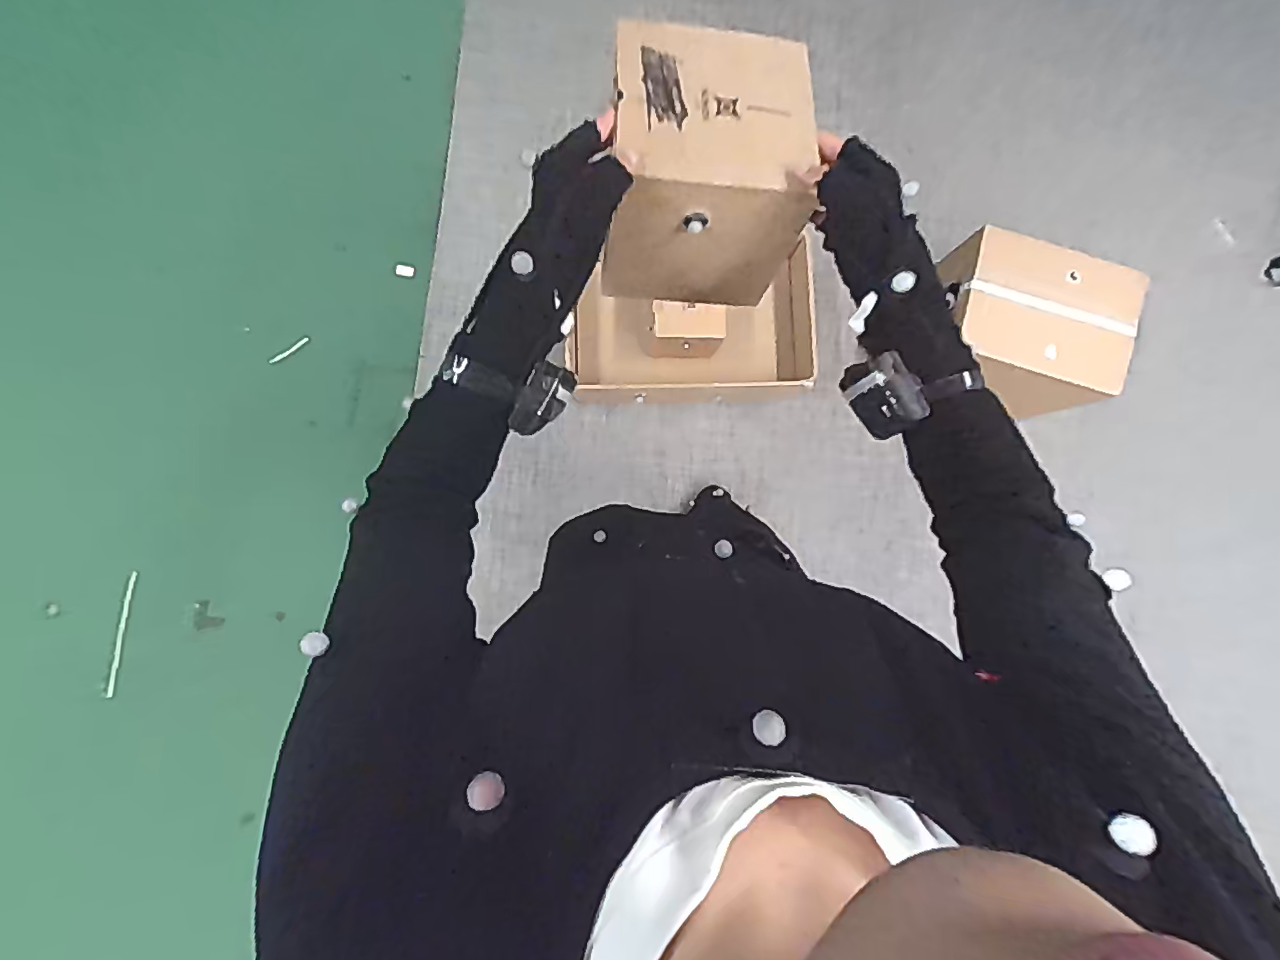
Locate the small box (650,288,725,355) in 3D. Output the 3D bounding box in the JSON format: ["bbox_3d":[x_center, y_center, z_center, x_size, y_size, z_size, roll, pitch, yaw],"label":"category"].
[{"bbox_3d":[0.116,-0.424,1.391,0.179,0.176,0.168,0,86,-4],"label":"small box"}]

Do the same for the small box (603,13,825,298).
[{"bbox_3d":[0.056,-0.298,0.530,0.179,0.176,0.168,2,75,-8],"label":"small box"}]
